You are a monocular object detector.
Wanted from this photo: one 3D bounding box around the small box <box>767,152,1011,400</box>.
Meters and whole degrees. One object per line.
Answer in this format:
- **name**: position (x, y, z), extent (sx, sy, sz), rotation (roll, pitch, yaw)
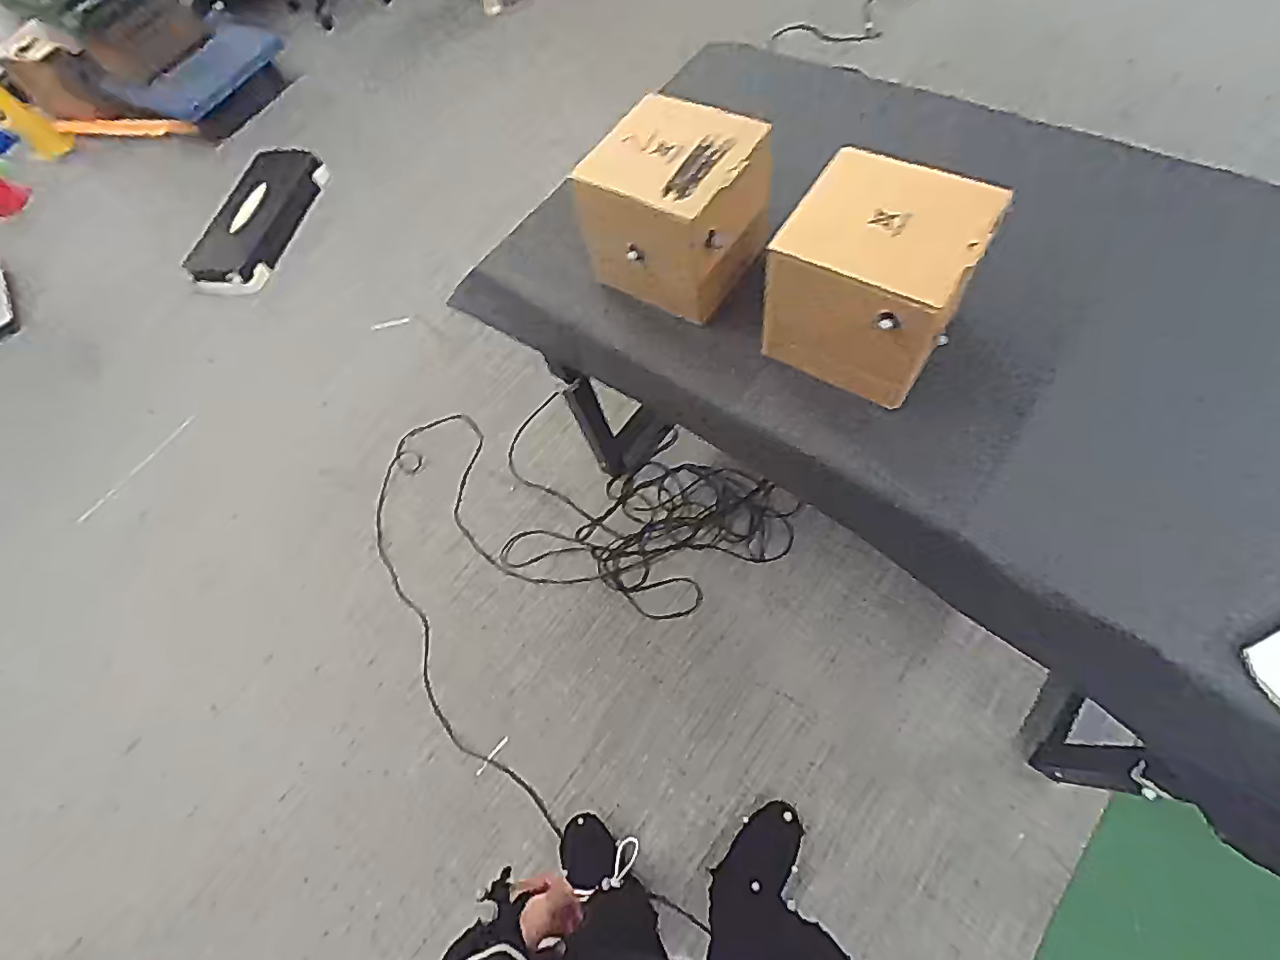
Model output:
- **small box**: position (0.256, -0.218, 0.602), extent (0.179, 0.176, 0.168), rotation (30, 73, 20)
